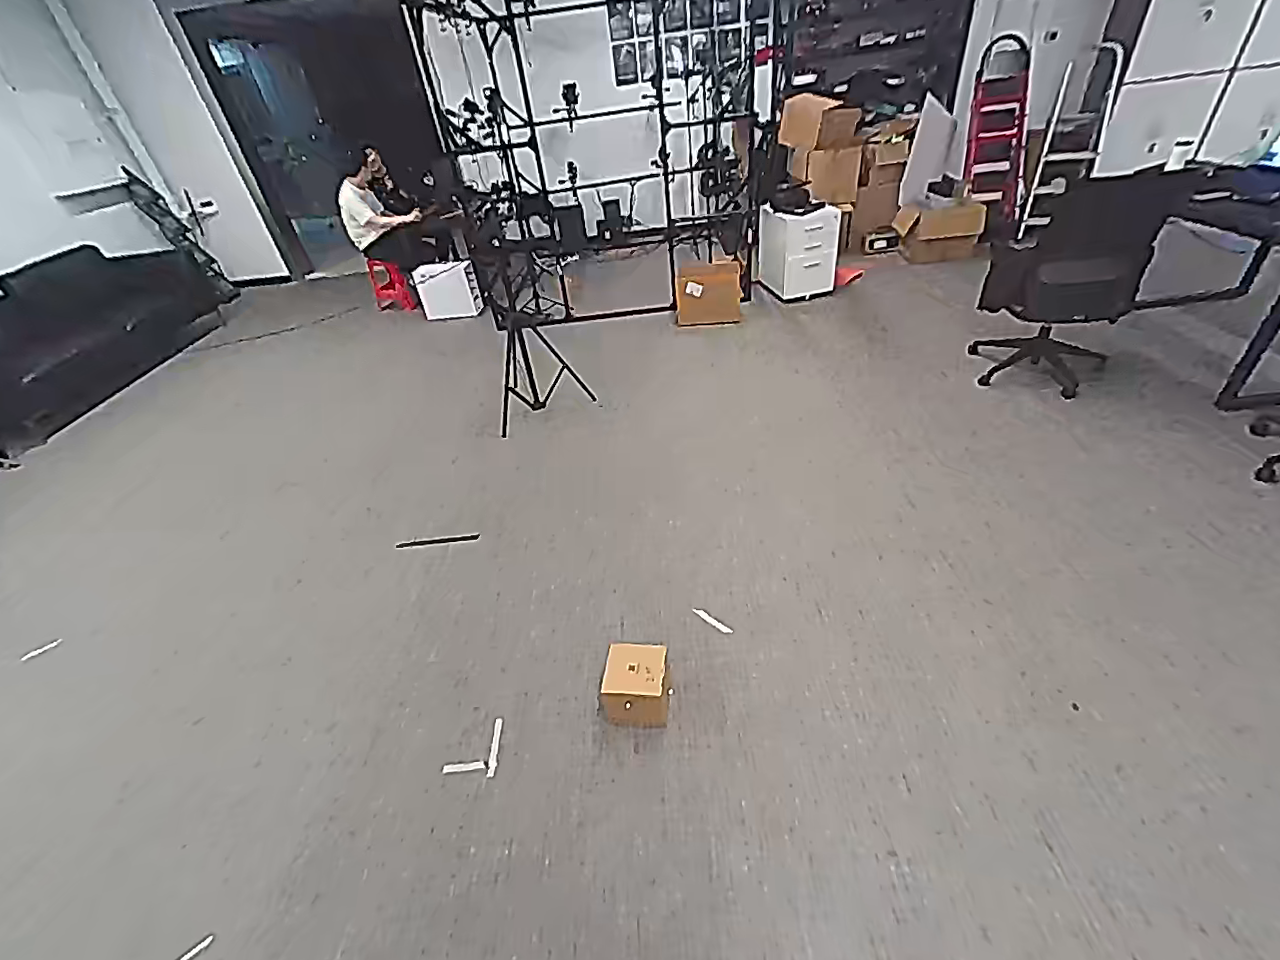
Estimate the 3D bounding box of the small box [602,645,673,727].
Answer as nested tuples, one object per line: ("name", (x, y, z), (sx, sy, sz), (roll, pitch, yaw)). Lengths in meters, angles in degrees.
("small box", (-0.001, 0.615, 1.612), (0.179, 0.176, 0.168), (0, 38, 10))
